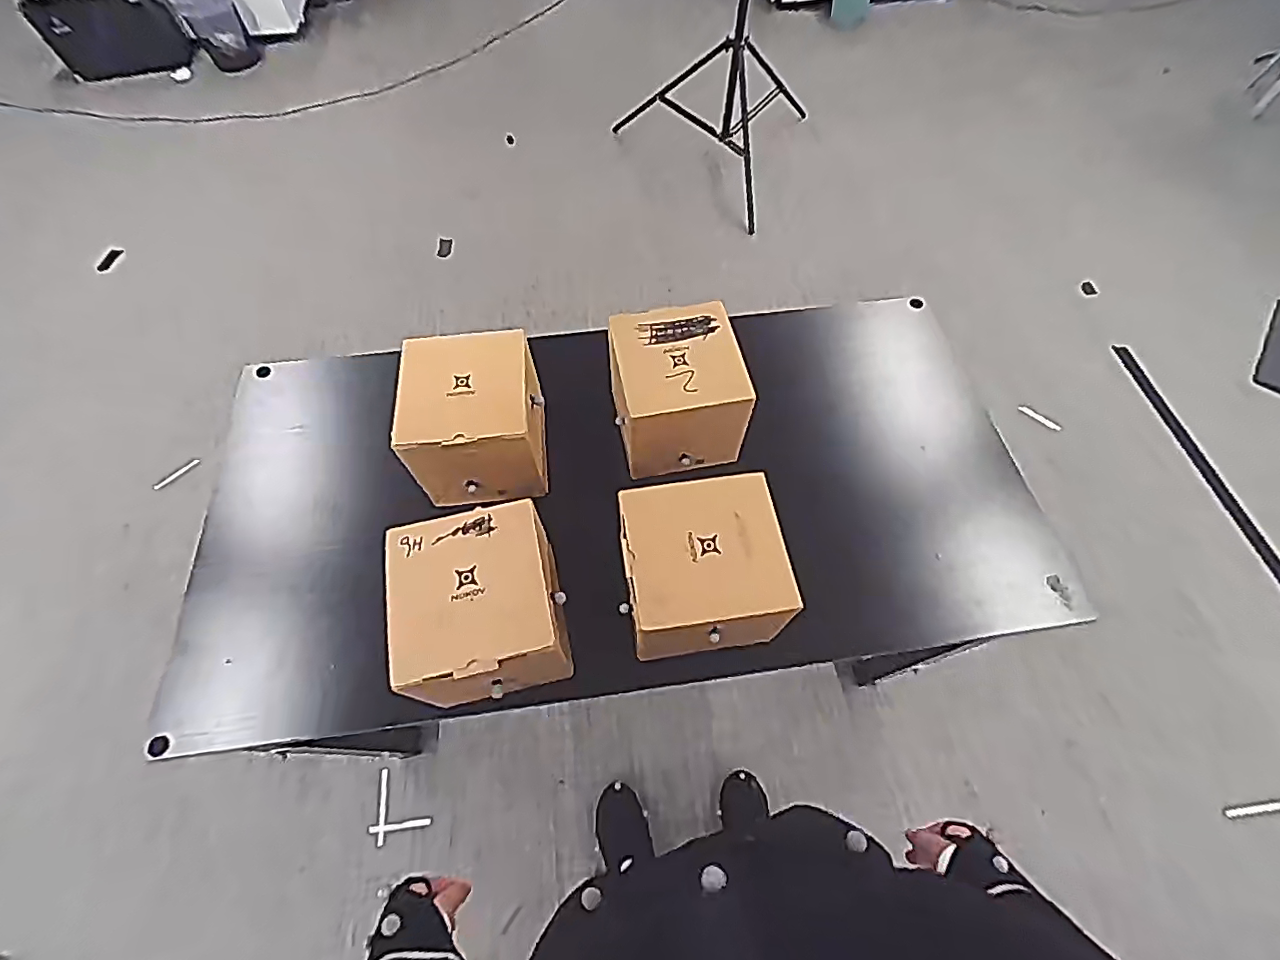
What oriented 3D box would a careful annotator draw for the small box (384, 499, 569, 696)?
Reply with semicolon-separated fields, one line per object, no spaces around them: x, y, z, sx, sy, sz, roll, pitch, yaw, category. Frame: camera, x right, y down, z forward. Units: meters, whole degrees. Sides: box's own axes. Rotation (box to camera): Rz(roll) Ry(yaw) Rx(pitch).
-0.187;0.149;0.647;0.168;0.176;0.179;-13;62;-6;small box

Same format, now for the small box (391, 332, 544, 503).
-0.233;-0.085;0.775;0.168;0.176;0.179;-6;62;-3;small box

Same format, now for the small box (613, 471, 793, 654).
0.066;0.109;0.669;0.179;0.176;0.168;-8;62;-4;small box
